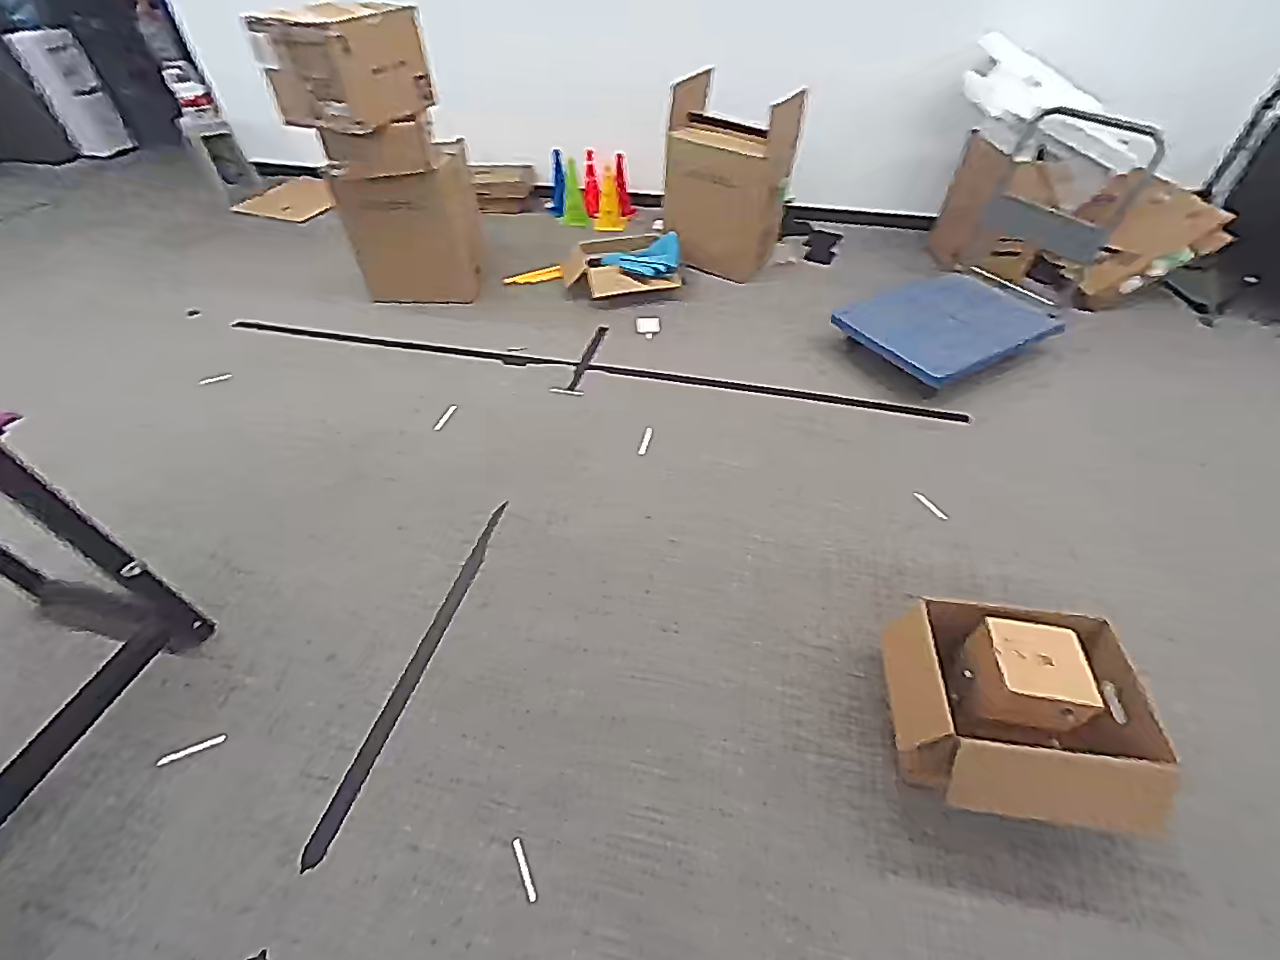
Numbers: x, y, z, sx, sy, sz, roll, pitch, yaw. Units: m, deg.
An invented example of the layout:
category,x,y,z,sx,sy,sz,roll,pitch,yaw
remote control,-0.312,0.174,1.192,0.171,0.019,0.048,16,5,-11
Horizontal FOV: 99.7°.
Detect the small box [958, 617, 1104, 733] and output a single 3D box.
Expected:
category,x,y,z,sx,sy,sz,roll,pitch,yaw
small box,0.815,0.418,1.150,0.179,0.176,0.168,7,46,8
